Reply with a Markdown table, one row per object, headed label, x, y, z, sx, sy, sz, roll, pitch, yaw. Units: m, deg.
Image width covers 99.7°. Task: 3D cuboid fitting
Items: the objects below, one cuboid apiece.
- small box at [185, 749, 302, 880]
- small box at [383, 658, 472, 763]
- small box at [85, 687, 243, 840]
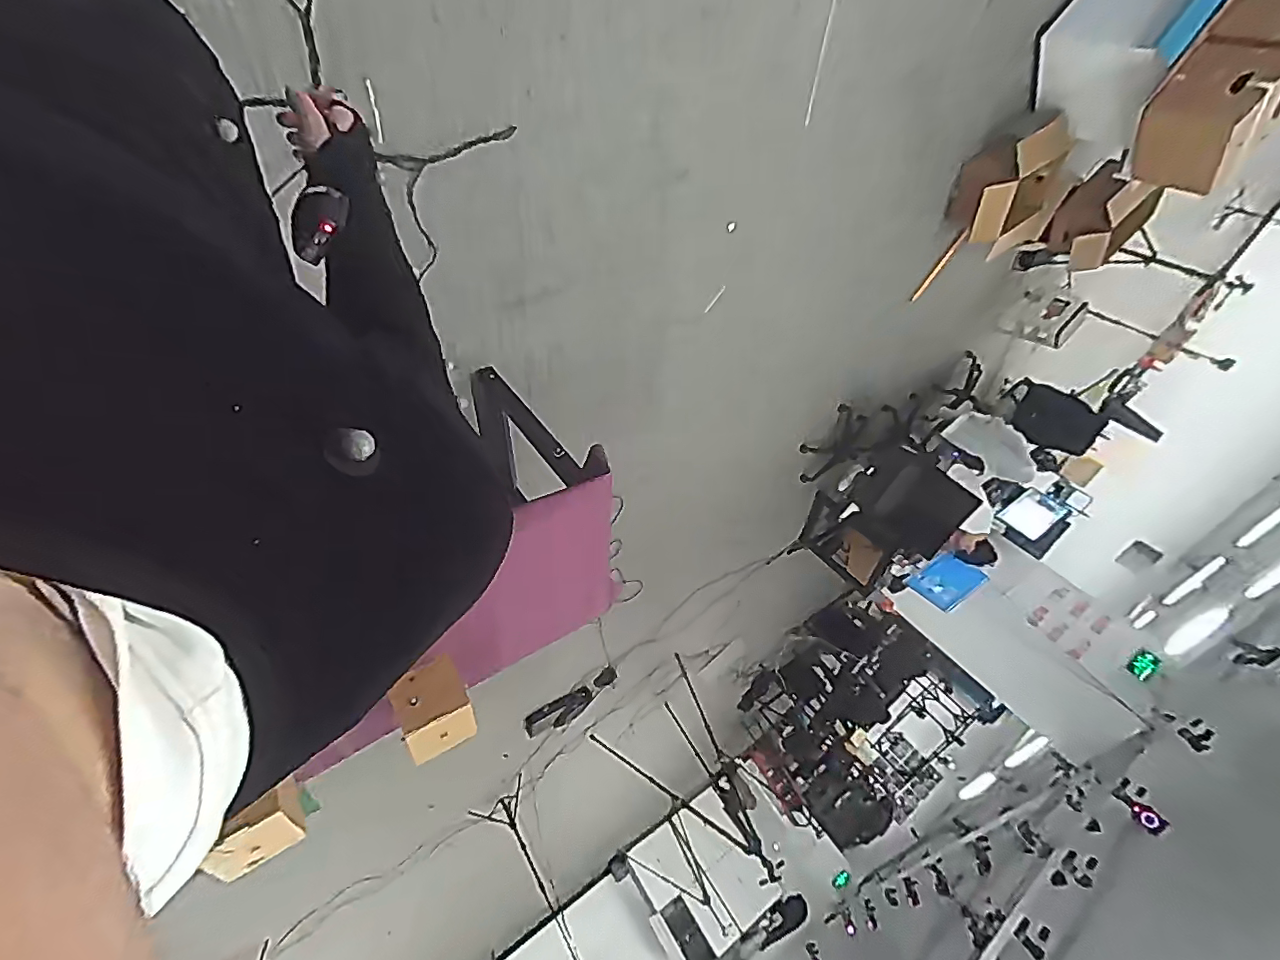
| label | x | y | z | sx | sy | sz | roll | pitch | yaw |
| --- | --- | --- | --- | --- | --- | --- | --- | --- | --- |
| small box | -0.907 | 0.754 | 1.235 | 0.168 | 0.176 | 0.179 | -23 | 137 | -28 |
| small box | -0.561 | 0.598 | 1.430 | 0.168 | 0.176 | 0.179 | -21 | 139 | -29 |
| small box | -0.887 | 0.526 | 1.016 | 0.168 | 0.176 | 0.179 | -25 | 142 | -28 |
